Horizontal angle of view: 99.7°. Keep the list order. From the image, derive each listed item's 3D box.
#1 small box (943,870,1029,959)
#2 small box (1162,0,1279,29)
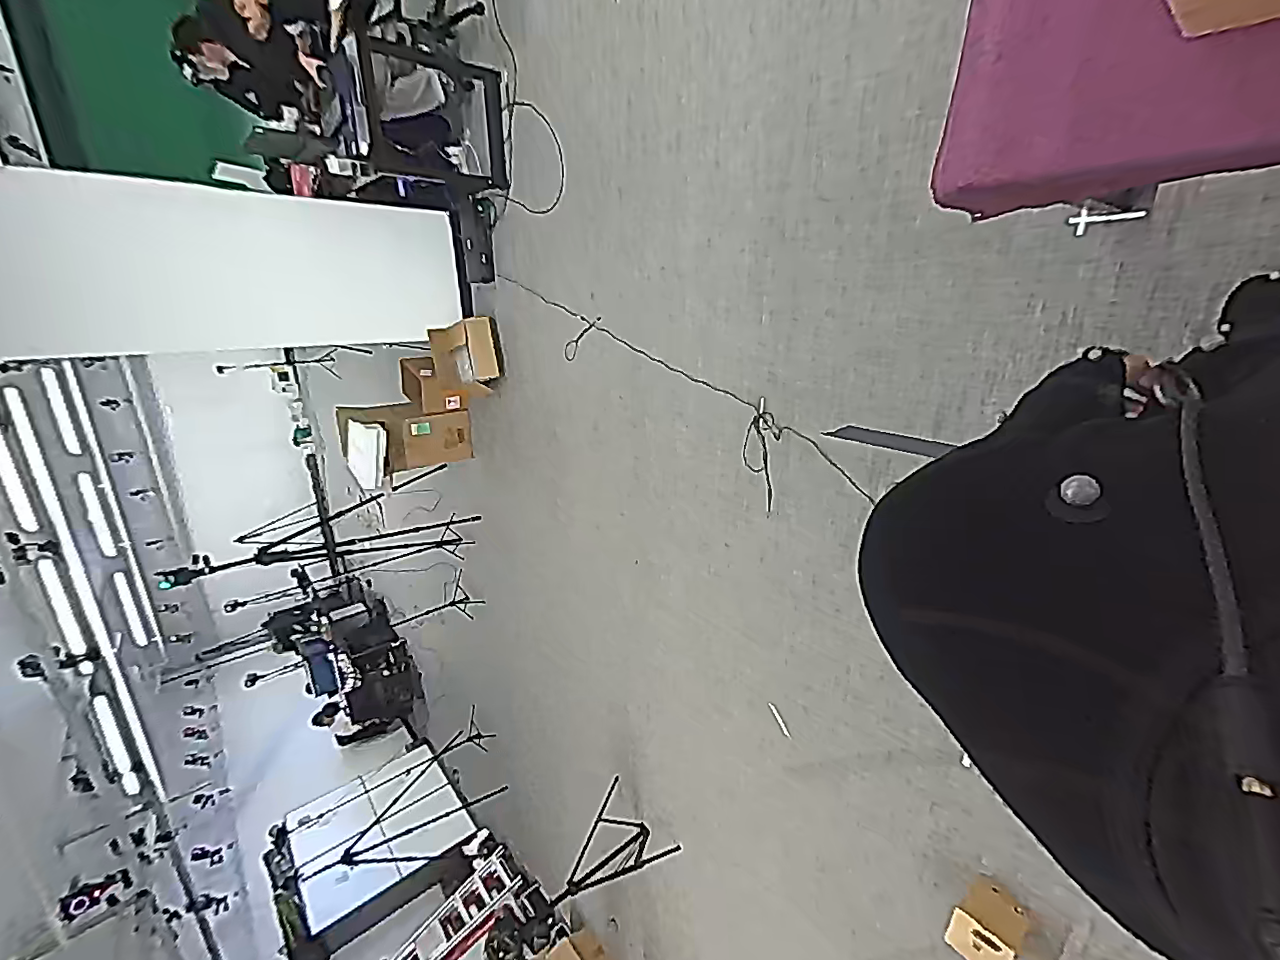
[{"bbox_3d":[1.100,1.401,1.715,0.168,0.176,0.179,25,122,45],"label":"small box"},{"bbox_3d":[0.589,-0.525,0.457,0.179,0.176,0.168,23,120,45],"label":"small box"}]
